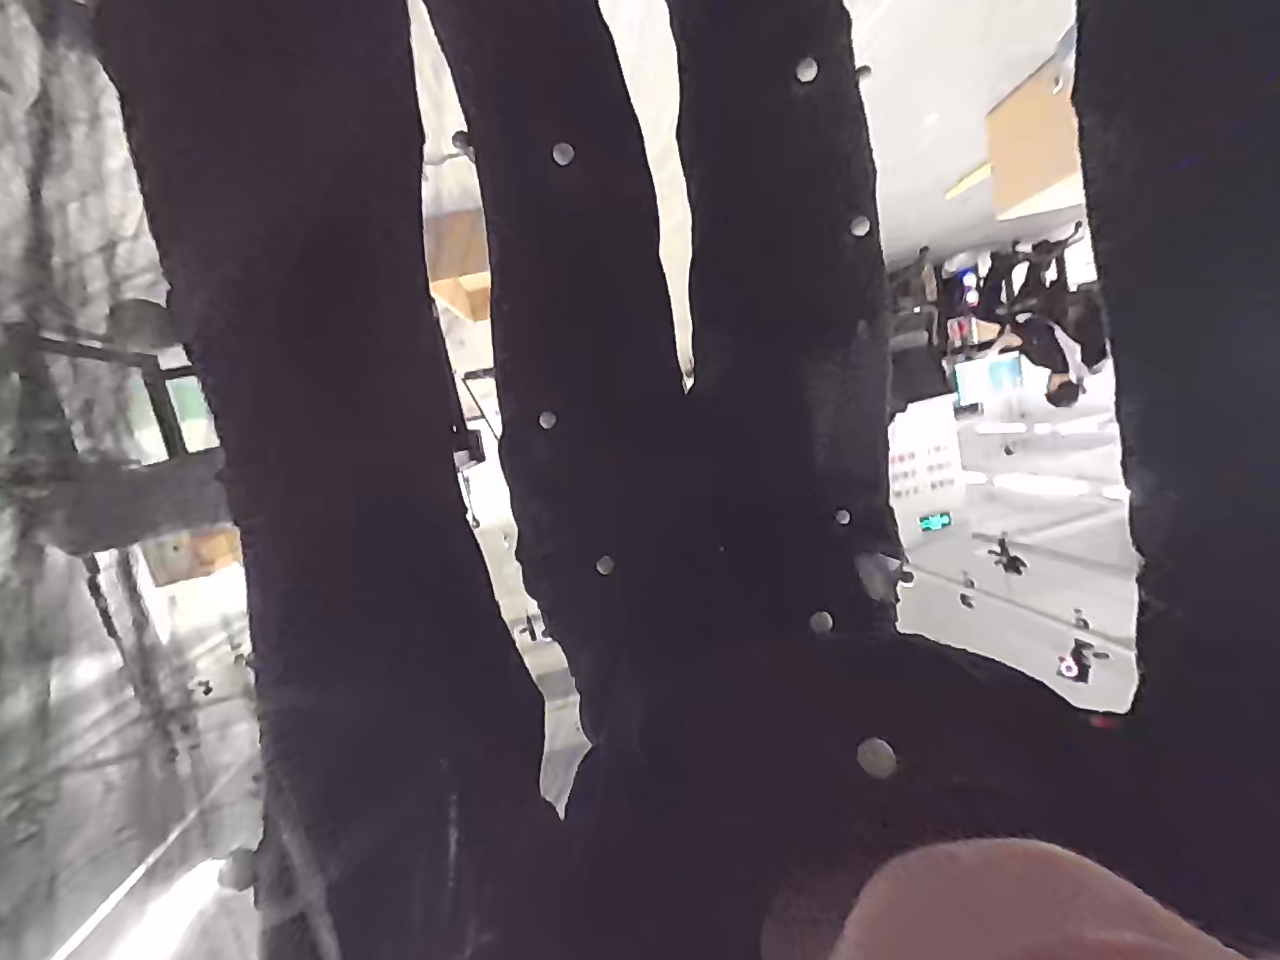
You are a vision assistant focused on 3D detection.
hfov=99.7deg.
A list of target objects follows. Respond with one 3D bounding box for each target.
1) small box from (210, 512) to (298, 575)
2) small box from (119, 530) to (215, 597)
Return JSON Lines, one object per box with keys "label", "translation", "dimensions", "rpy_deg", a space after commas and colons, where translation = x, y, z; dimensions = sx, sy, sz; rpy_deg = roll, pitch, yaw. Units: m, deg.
{"label": "small box", "translation": [-1.350, 0.215, 1.894], "dimensions": [0.179, 0.176, 0.168], "rpy_deg": [-13, -174, -6]}
{"label": "small box", "translation": [-1.598, 0.274, 1.833], "dimensions": [0.168, 0.176, 0.179], "rpy_deg": [-14, -173, -12]}
